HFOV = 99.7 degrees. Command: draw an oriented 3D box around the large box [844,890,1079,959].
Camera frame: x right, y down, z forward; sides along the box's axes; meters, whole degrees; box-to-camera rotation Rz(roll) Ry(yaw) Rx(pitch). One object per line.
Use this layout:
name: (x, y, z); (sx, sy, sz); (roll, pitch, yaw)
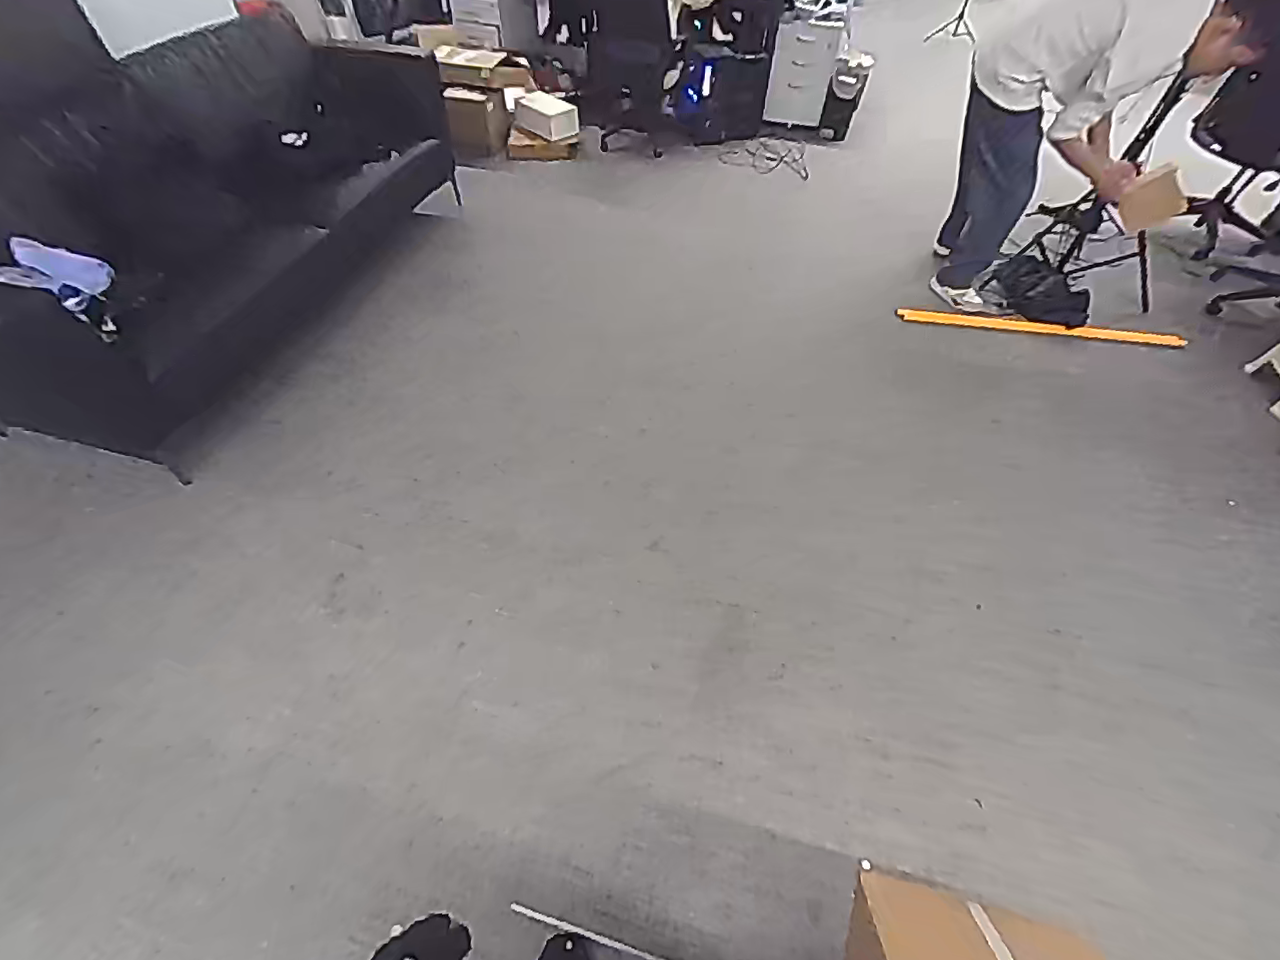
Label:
large box: (0.410, 0.780, 0.592); (0.320, 0.408, 0.320); (12, 88, 11)
